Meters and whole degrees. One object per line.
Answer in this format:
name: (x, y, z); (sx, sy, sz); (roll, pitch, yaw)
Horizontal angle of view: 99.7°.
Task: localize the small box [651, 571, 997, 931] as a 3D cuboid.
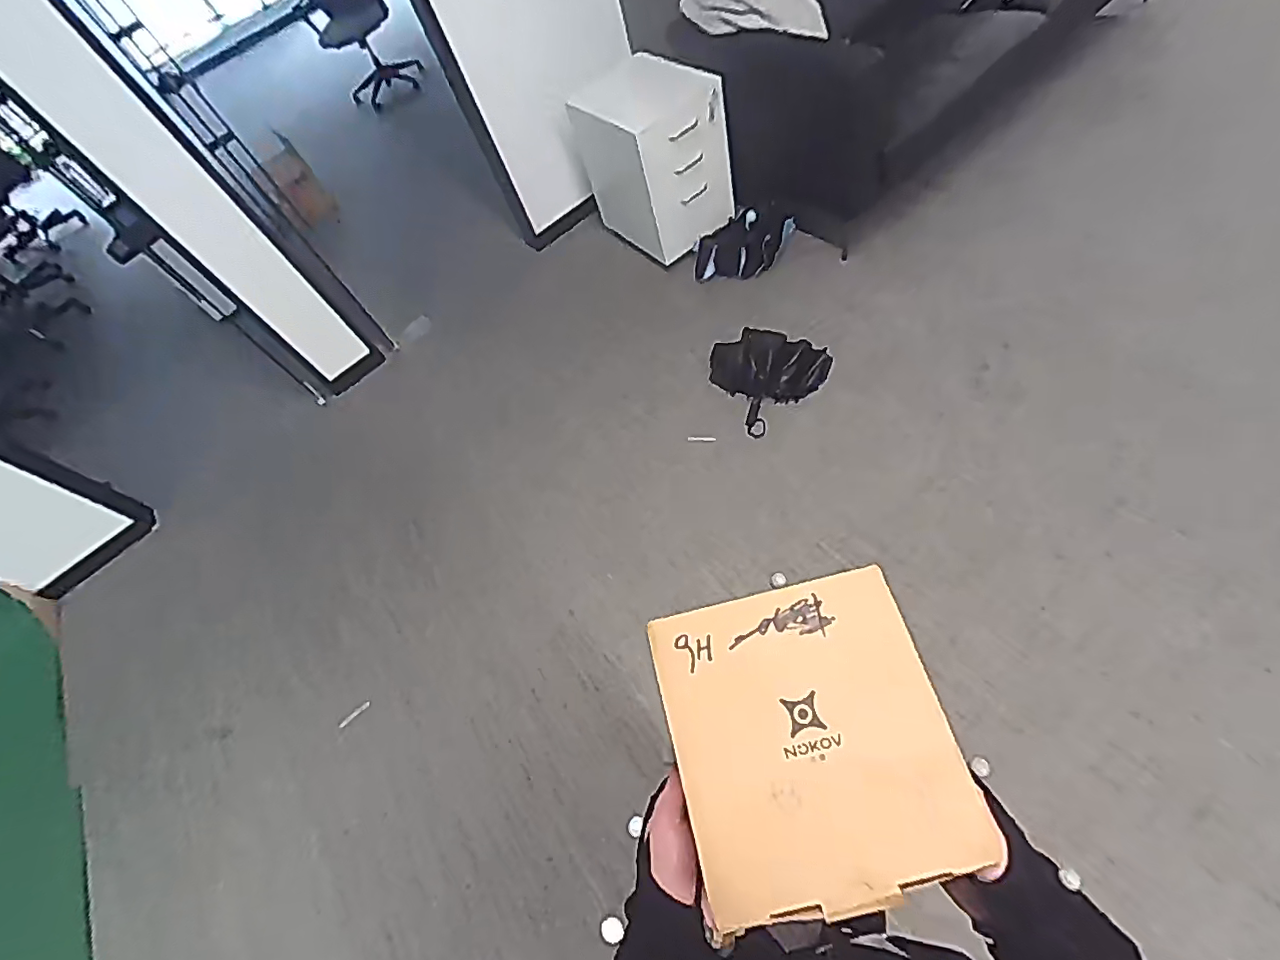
small box: (0.111, 0.187, 0.406); (0.168, 0.176, 0.179); (-14, 66, 0)
